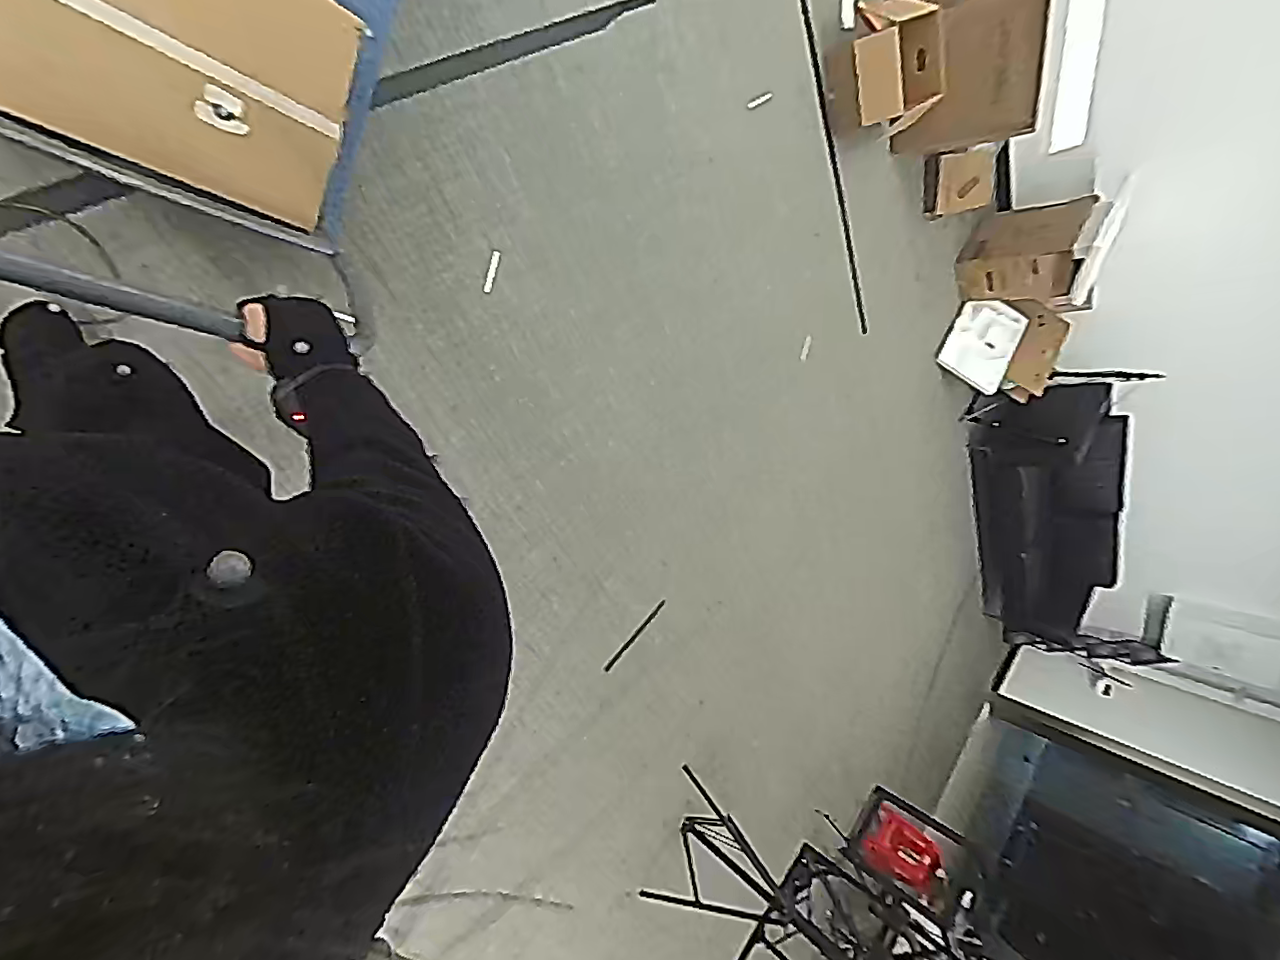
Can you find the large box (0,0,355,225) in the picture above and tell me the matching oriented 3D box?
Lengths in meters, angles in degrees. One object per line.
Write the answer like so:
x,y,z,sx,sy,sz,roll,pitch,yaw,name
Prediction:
-0.710,-0.637,0.804,0.408,0.320,0.320,9,113,-44,large box
